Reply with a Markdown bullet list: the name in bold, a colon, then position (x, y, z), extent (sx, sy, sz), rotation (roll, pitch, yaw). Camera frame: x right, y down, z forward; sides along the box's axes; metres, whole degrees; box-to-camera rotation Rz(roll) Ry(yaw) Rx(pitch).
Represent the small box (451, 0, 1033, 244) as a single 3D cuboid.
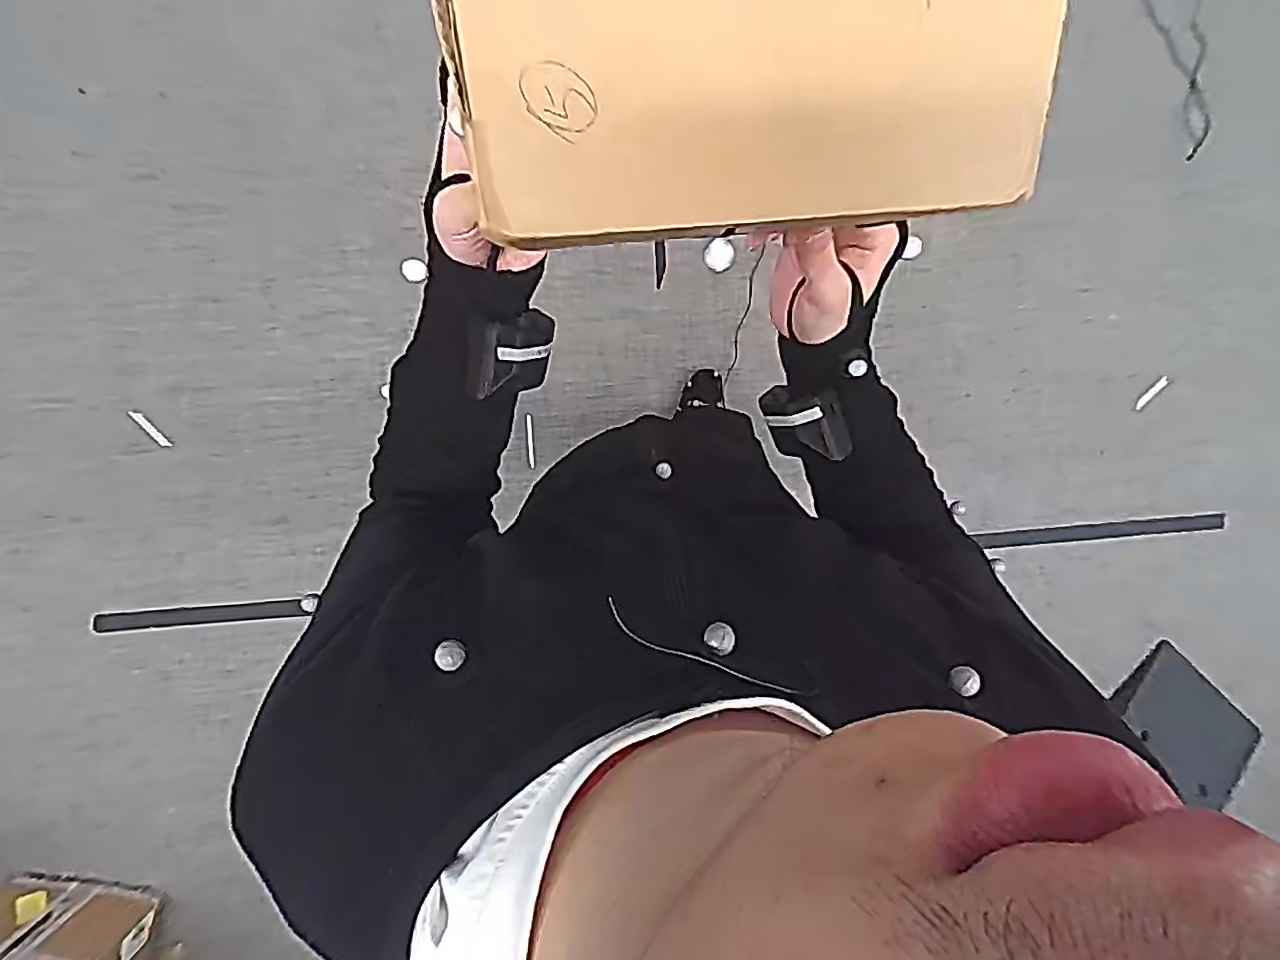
- **small box**: position (0.023, -0.194, 0.222), extent (0.179, 0.176, 0.168), rotation (-7, 113, -4)
